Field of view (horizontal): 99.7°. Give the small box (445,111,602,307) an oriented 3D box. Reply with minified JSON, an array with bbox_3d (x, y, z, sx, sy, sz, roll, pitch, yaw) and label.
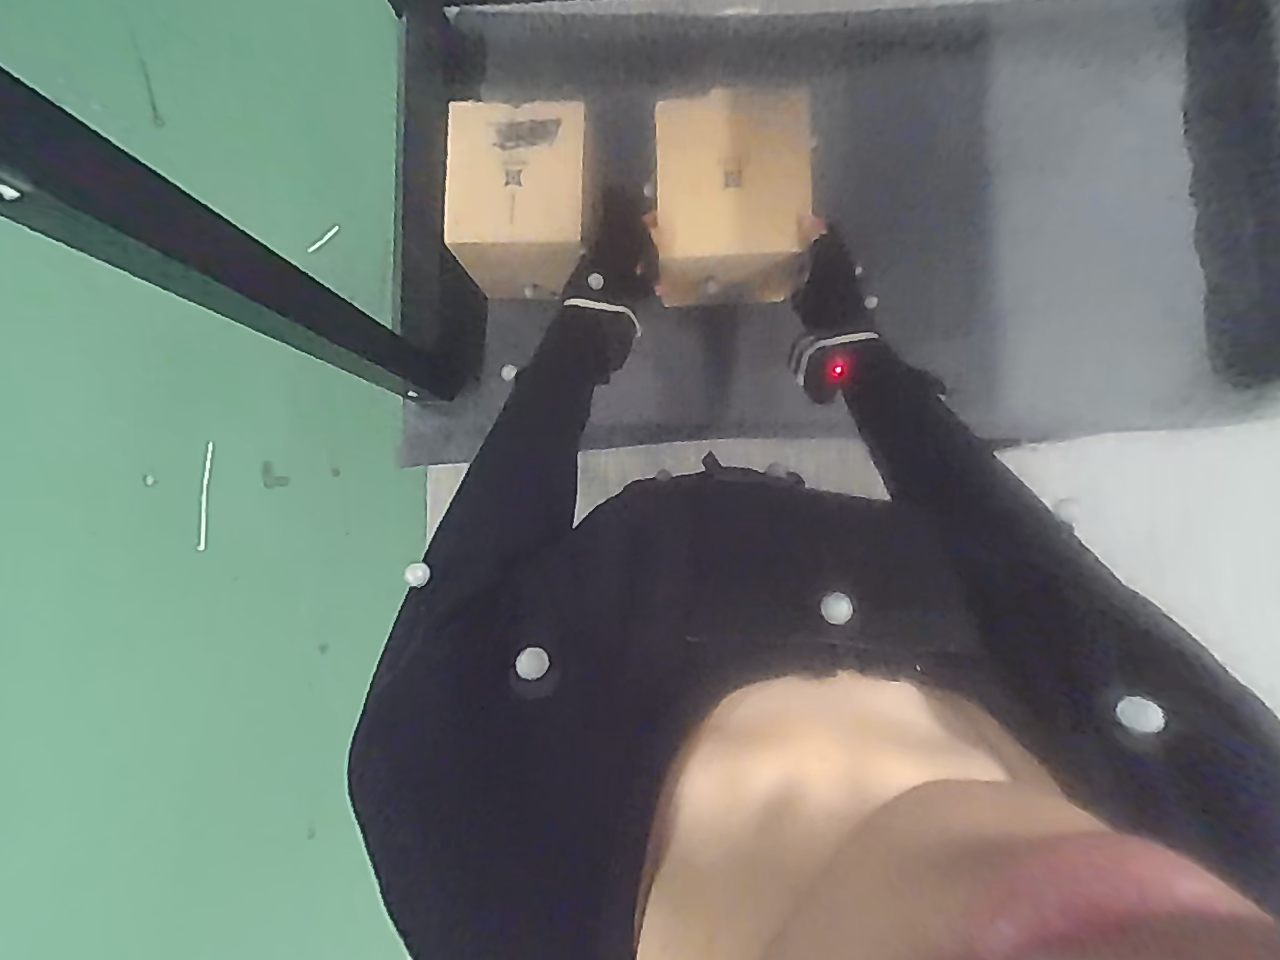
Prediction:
[{"bbox_3d":[-0.143,-0.351,0.723,0.168,0.176,0.179,1,86,3],"label":"small box"}]
